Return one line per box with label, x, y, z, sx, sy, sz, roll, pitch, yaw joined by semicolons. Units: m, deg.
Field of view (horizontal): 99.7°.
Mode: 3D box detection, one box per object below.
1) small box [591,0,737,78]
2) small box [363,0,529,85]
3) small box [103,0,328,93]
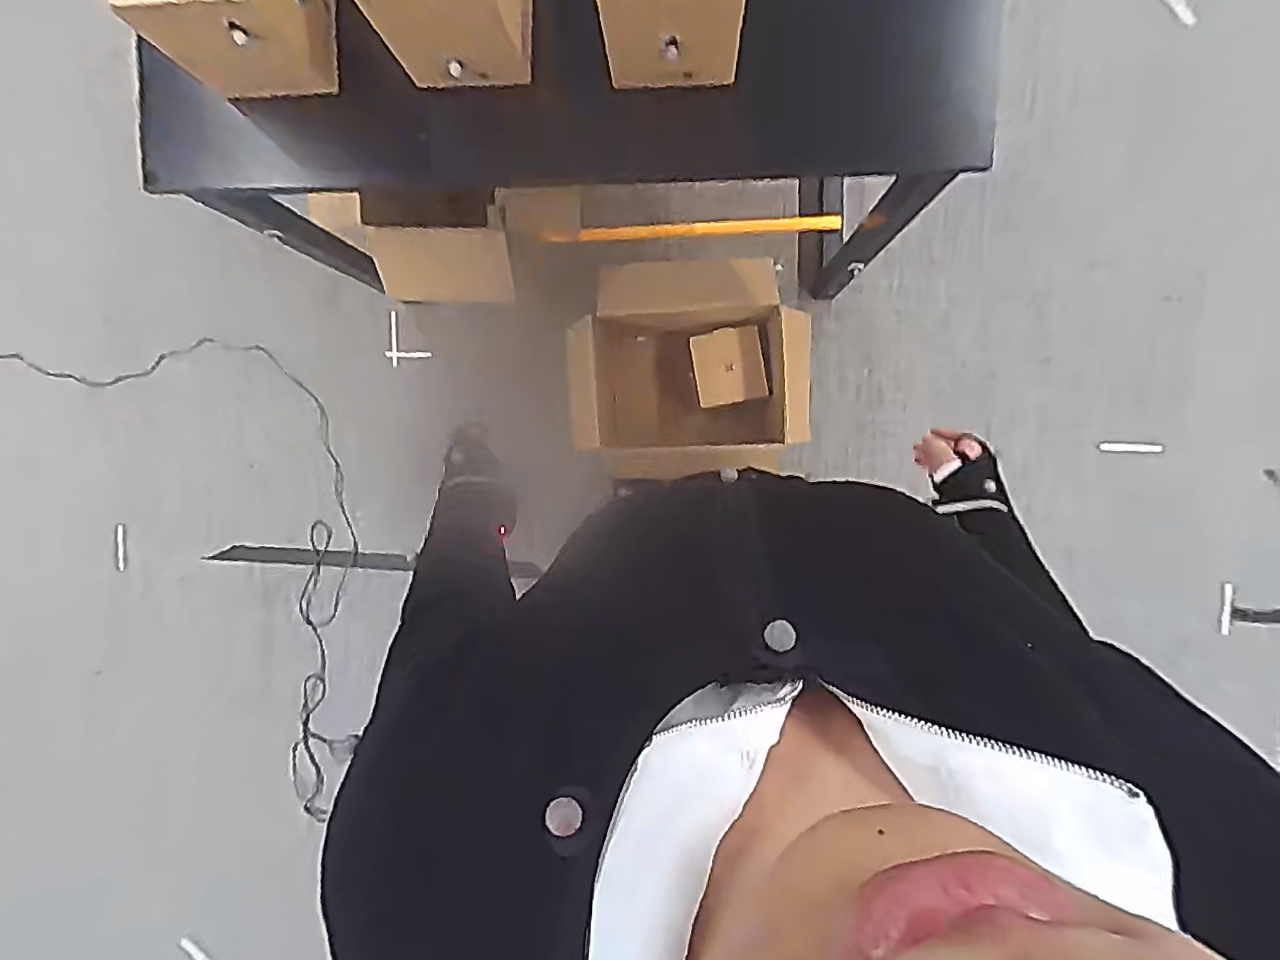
small box;0.034;-0.621;0.651;0.168;0.176;0.179;1;94;5
small box;-0.241;-0.635;0.669;0.168;0.176;0.179;2;94;5
small box;-0.525;-0.630;0.689;0.179;0.176;0.168;0;93;4
